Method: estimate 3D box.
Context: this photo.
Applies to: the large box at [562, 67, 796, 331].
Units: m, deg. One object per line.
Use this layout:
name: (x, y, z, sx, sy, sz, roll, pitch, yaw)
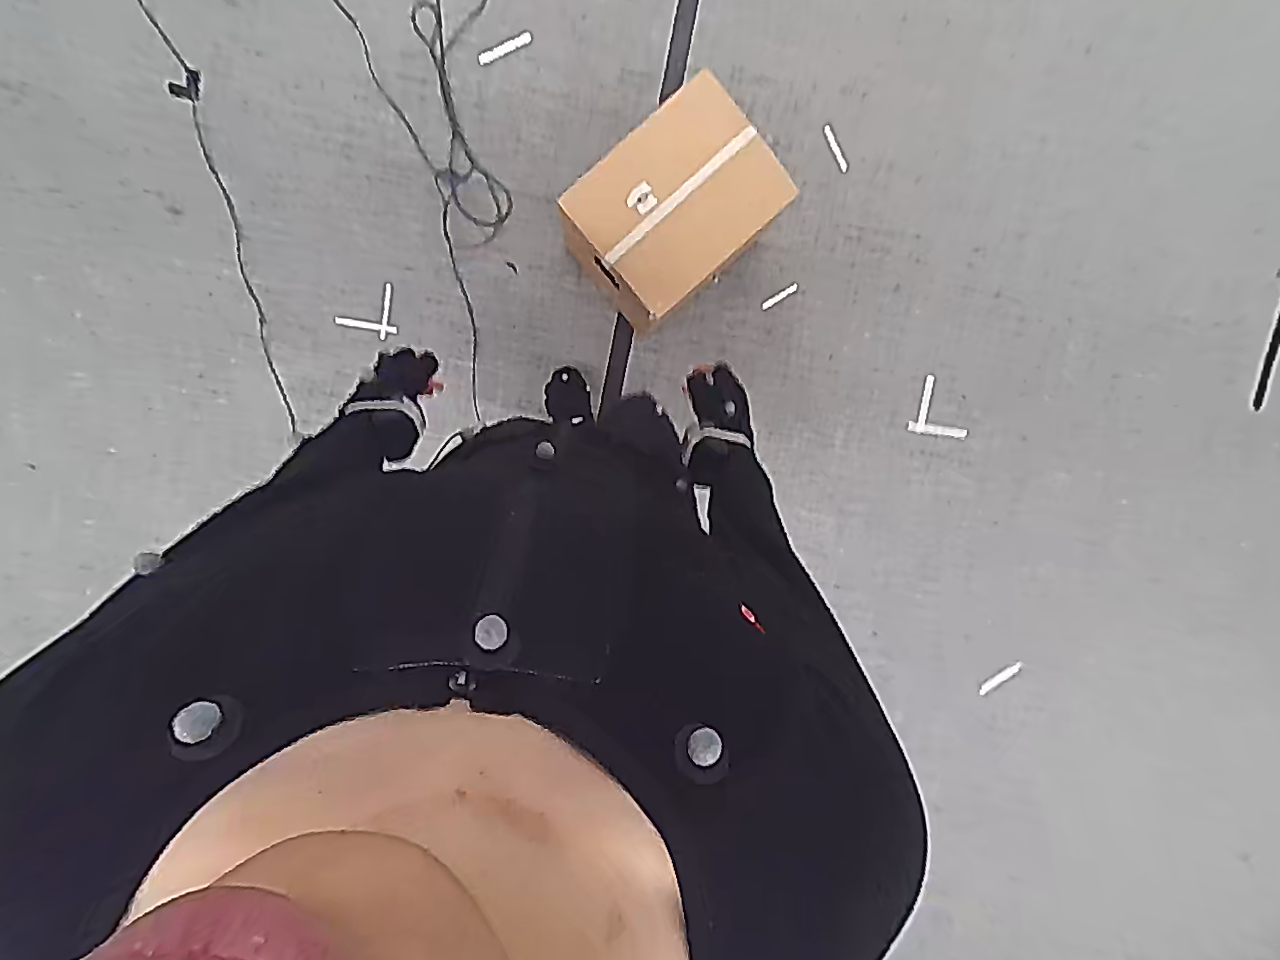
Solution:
large box: (0.075, -0.611, 1.260, 0.408, 0.320, 0.320, -41, 98, 3)
